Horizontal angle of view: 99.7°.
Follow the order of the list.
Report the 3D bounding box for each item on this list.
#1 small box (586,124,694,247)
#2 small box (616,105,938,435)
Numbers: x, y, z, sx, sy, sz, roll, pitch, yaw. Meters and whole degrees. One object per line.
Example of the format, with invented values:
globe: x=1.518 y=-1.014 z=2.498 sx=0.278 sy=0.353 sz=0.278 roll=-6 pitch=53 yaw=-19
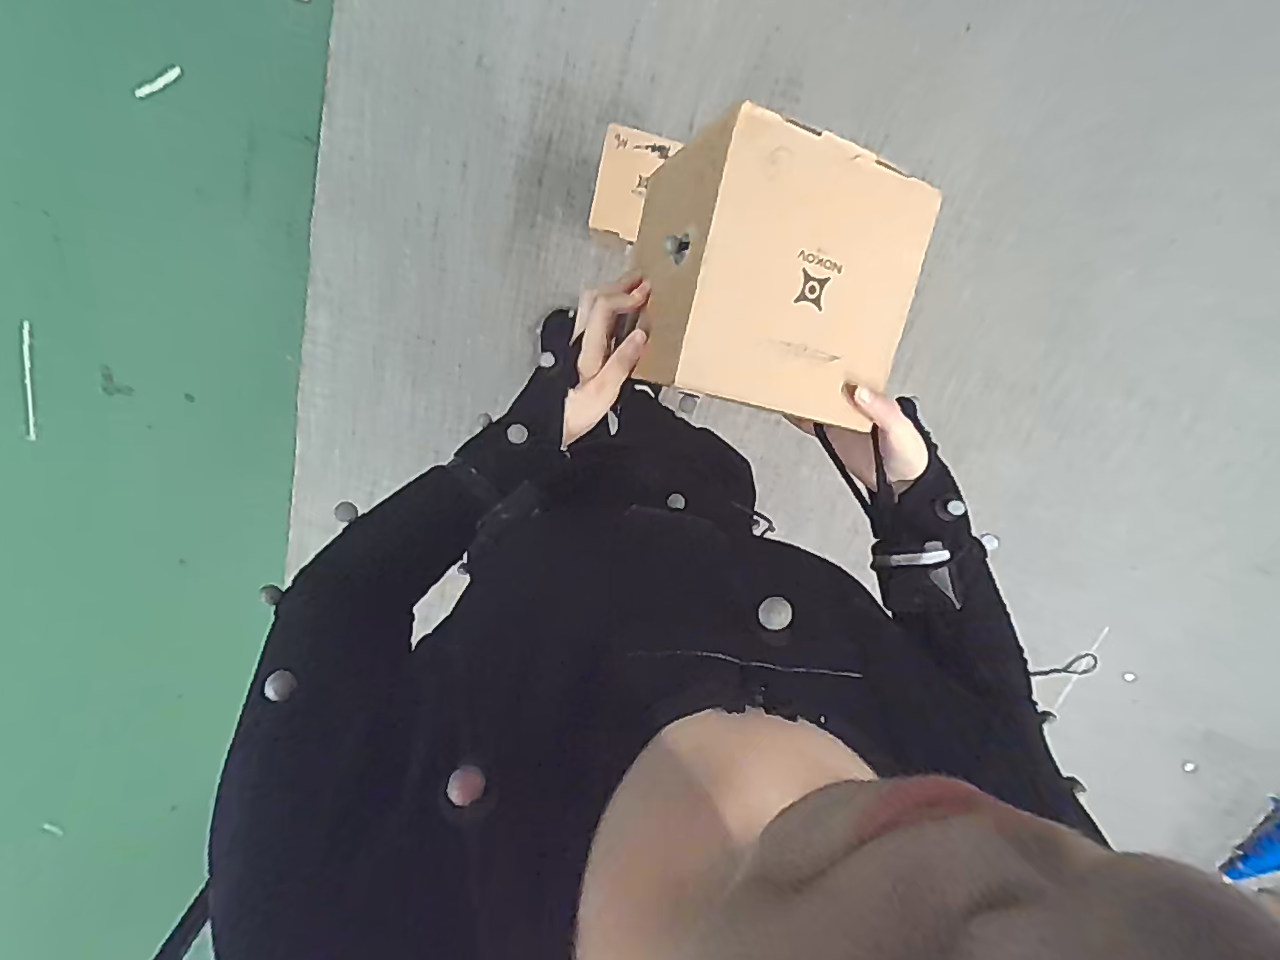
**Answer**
small box: x=-0.002 y=-0.556 z=1.058 sx=0.168 sy=0.176 sz=0.179 roll=12 pitch=109 yaw=-6
small box: x=0.092 y=-0.149 z=0.440 sx=0.168 sy=0.176 sz=0.179 roll=10 pitch=101 yaw=-22
